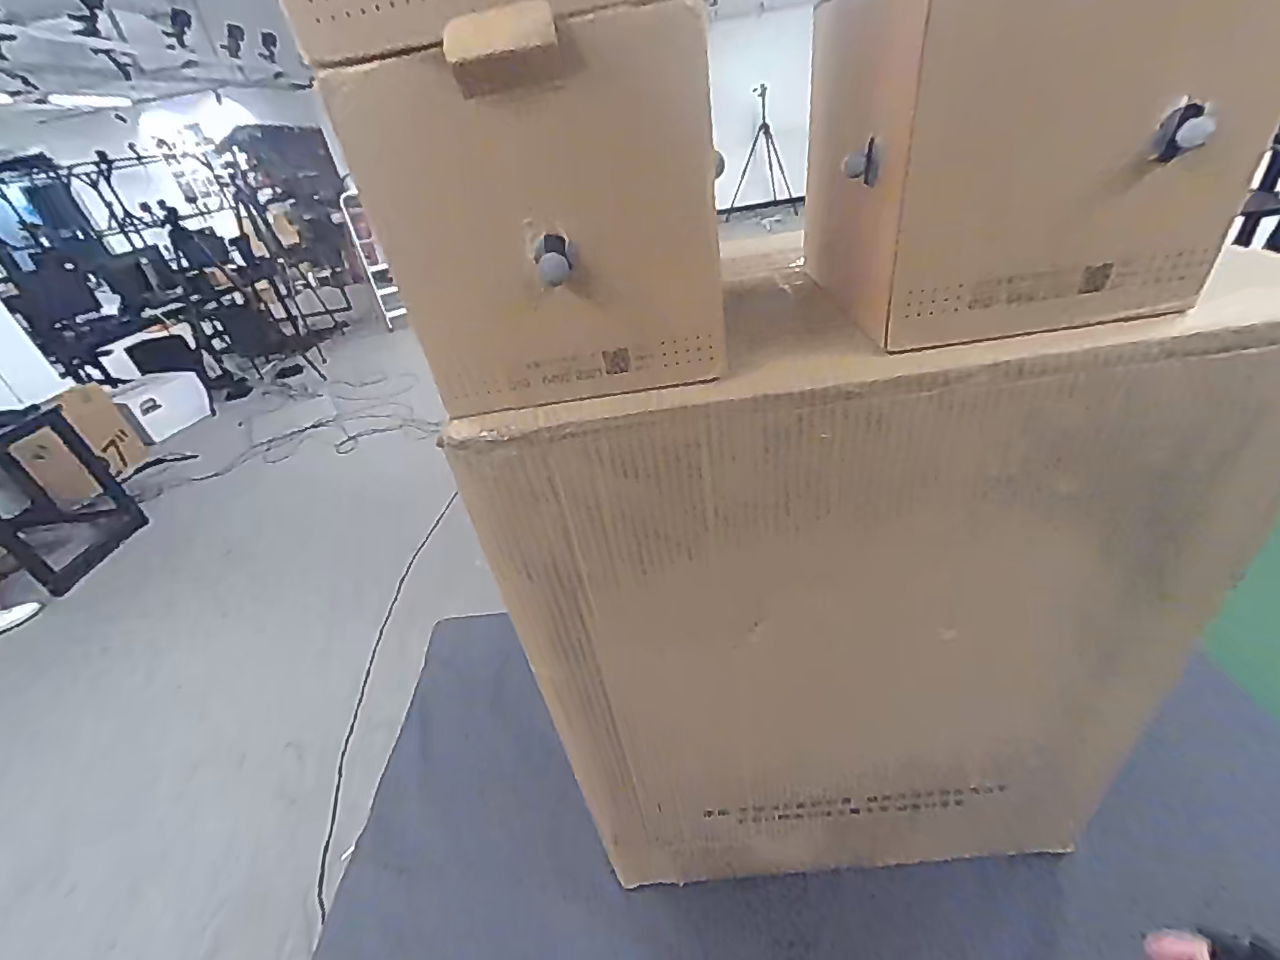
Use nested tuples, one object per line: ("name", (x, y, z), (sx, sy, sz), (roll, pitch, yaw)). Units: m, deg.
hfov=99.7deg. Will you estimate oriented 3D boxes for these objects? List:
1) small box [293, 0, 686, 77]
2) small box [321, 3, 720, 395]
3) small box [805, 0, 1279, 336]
("small box", (-0.068, -0.298, 0.244), (0.179, 0.176, 0.168), (-8, 35, 5))
("small box", (-0.044, -0.163, 0.336), (0.168, 0.176, 0.179), (-7, 37, 5))
("small box", (0.201, -0.190, 0.317), (0.168, 0.176, 0.179), (-5, 35, 3))
